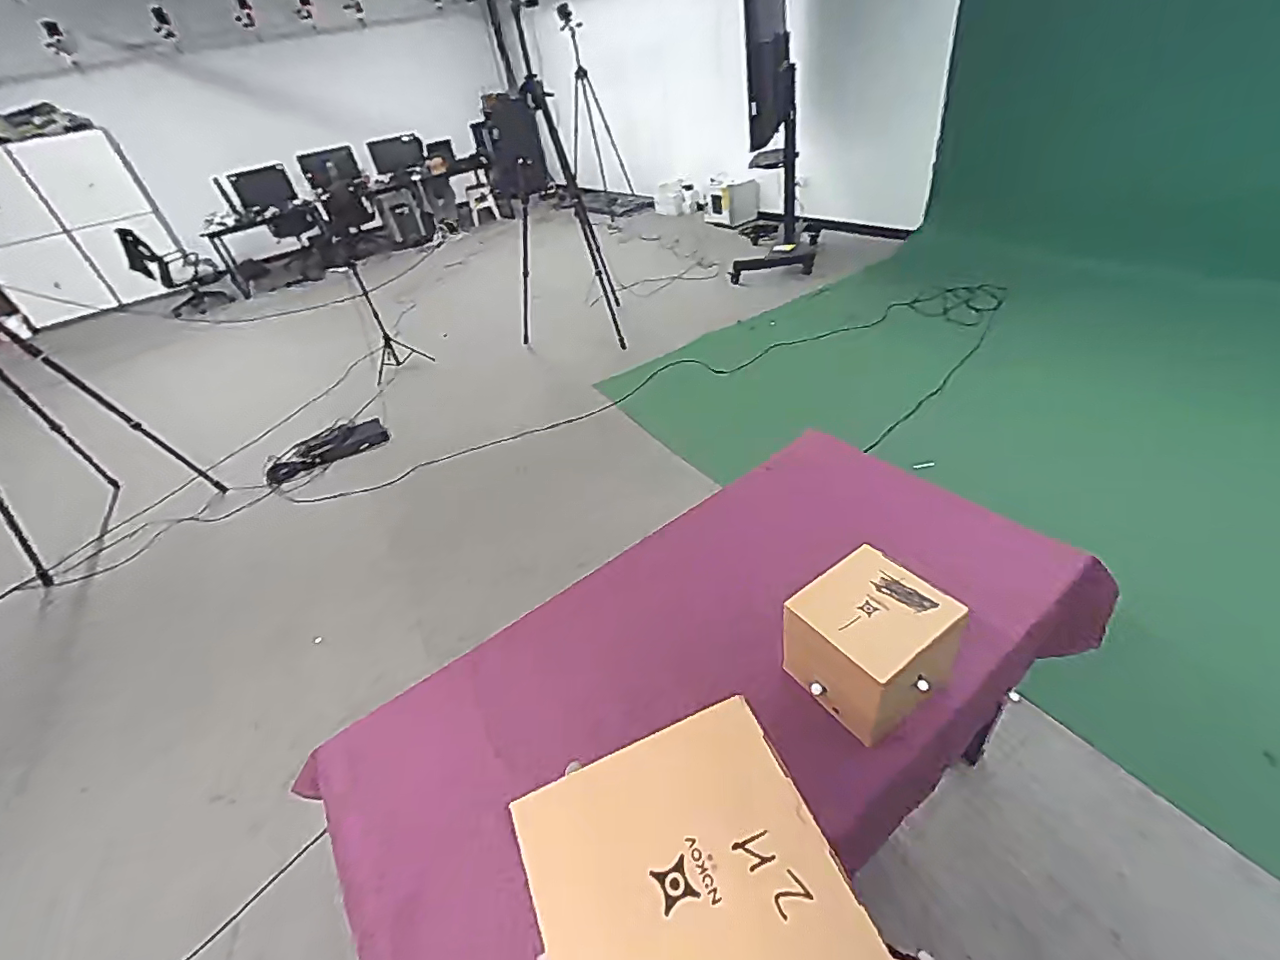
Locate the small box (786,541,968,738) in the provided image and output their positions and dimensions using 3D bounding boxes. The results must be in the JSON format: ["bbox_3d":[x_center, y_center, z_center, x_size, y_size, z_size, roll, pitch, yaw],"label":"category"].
[{"bbox_3d":[0.329,0.228,0.784,0.179,0.176,0.168,-29,41,-20],"label":"small box"}]

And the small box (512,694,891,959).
[{"bbox_3d":[0.028,0.287,0.376,0.179,0.176,0.168,-17,50,-15],"label":"small box"}]
